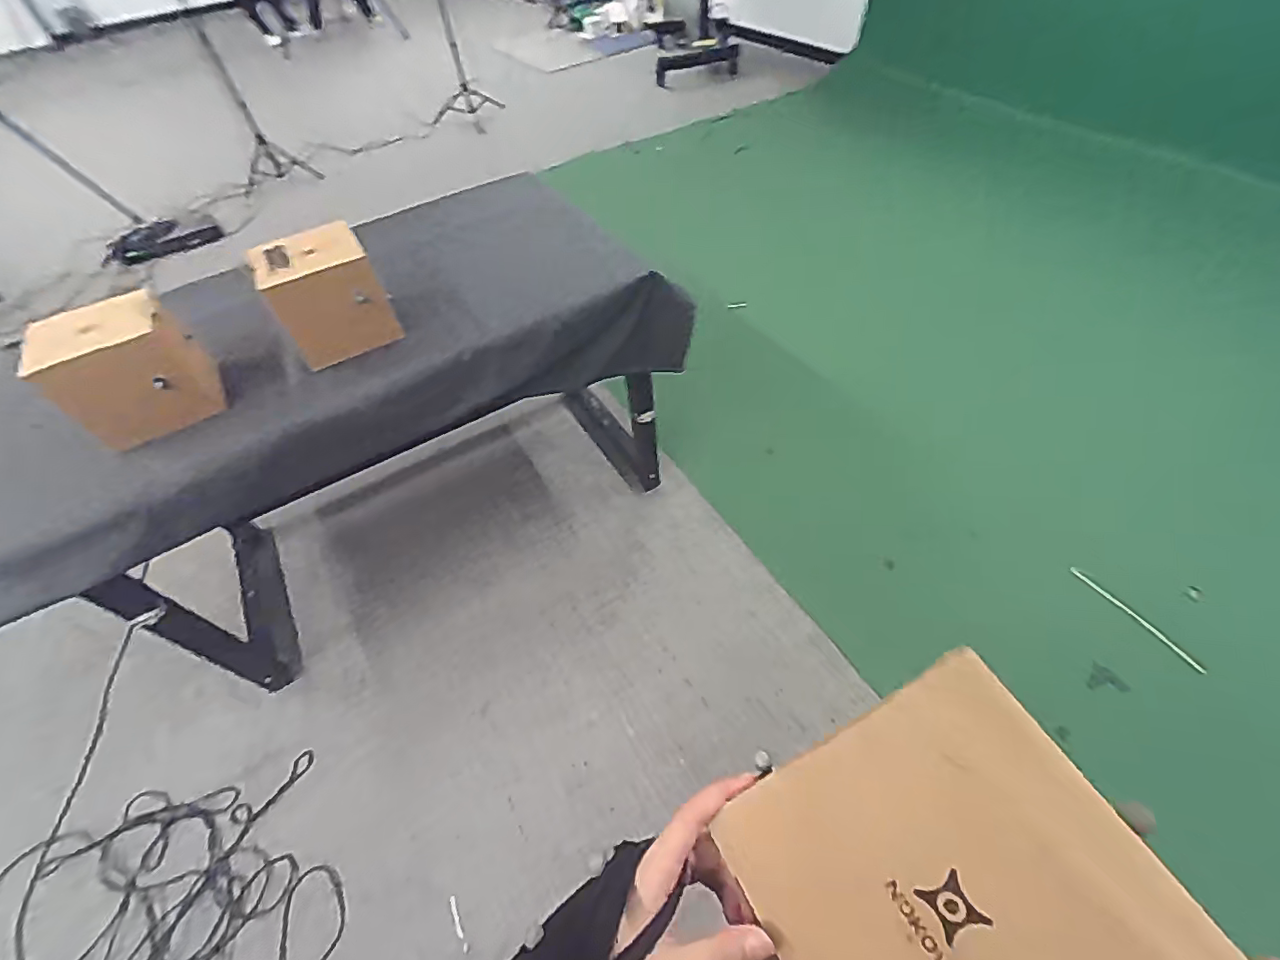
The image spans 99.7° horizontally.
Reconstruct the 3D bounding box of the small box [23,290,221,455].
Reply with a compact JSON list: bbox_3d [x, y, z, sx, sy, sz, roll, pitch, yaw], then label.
[{"bbox_3d":[-0.832,-0.176,0.892,0.179,0.176,0.168,-29,53,-17],"label":"small box"}]
